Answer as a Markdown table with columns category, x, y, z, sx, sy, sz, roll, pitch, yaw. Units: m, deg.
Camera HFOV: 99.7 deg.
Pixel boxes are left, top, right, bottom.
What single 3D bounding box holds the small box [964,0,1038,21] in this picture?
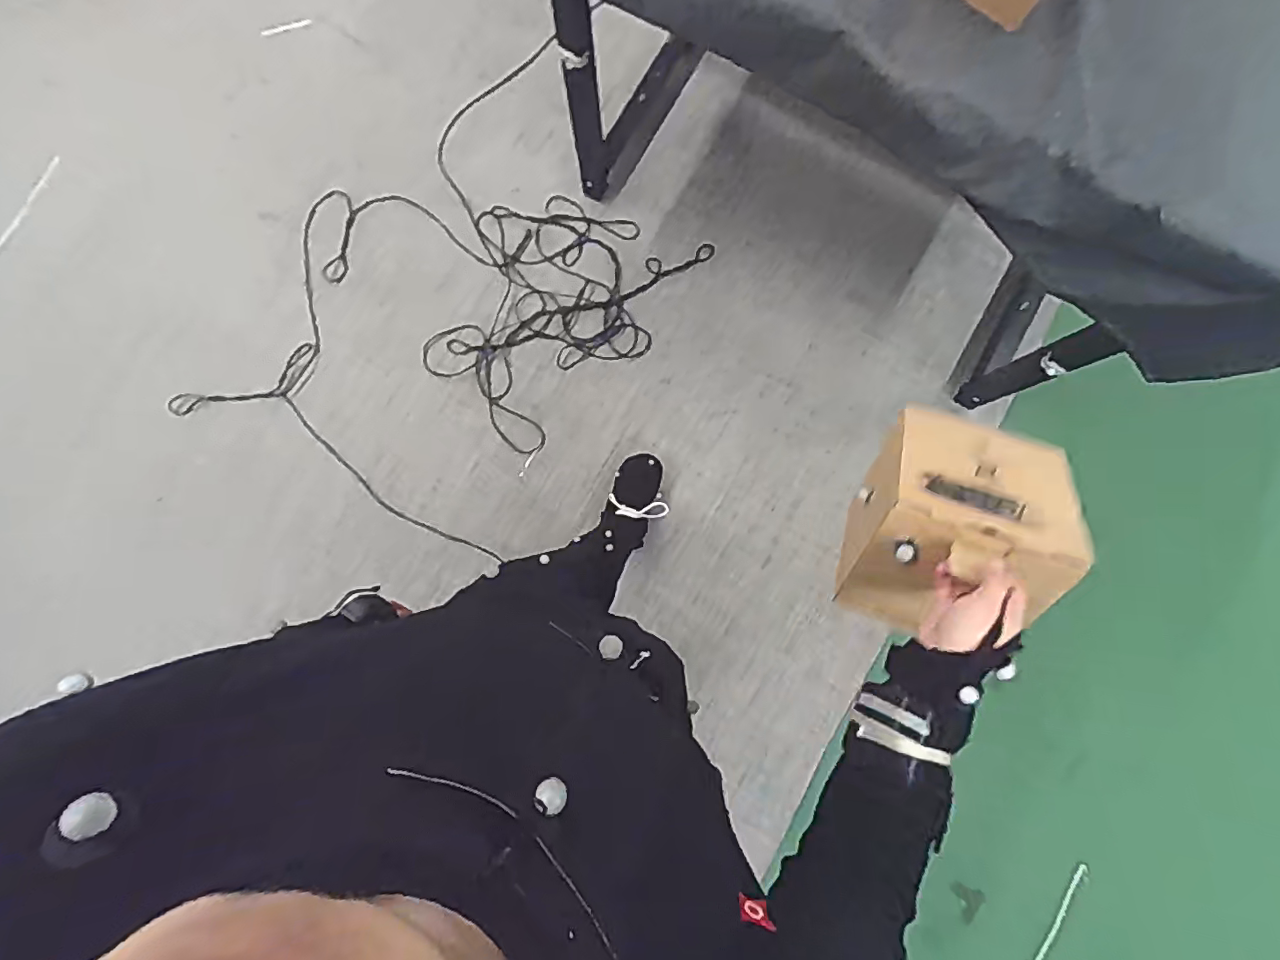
| category | x | y | z | sx | sy | sz | roll | pitch | yaw |
| --- | --- | --- | --- | --- | --- | --- | --- | --- | --- |
| small box | 0.468 | -0.705 | 0.638 | 0.179 | 0.176 | 0.168 | 37 | 84 | 4 |
